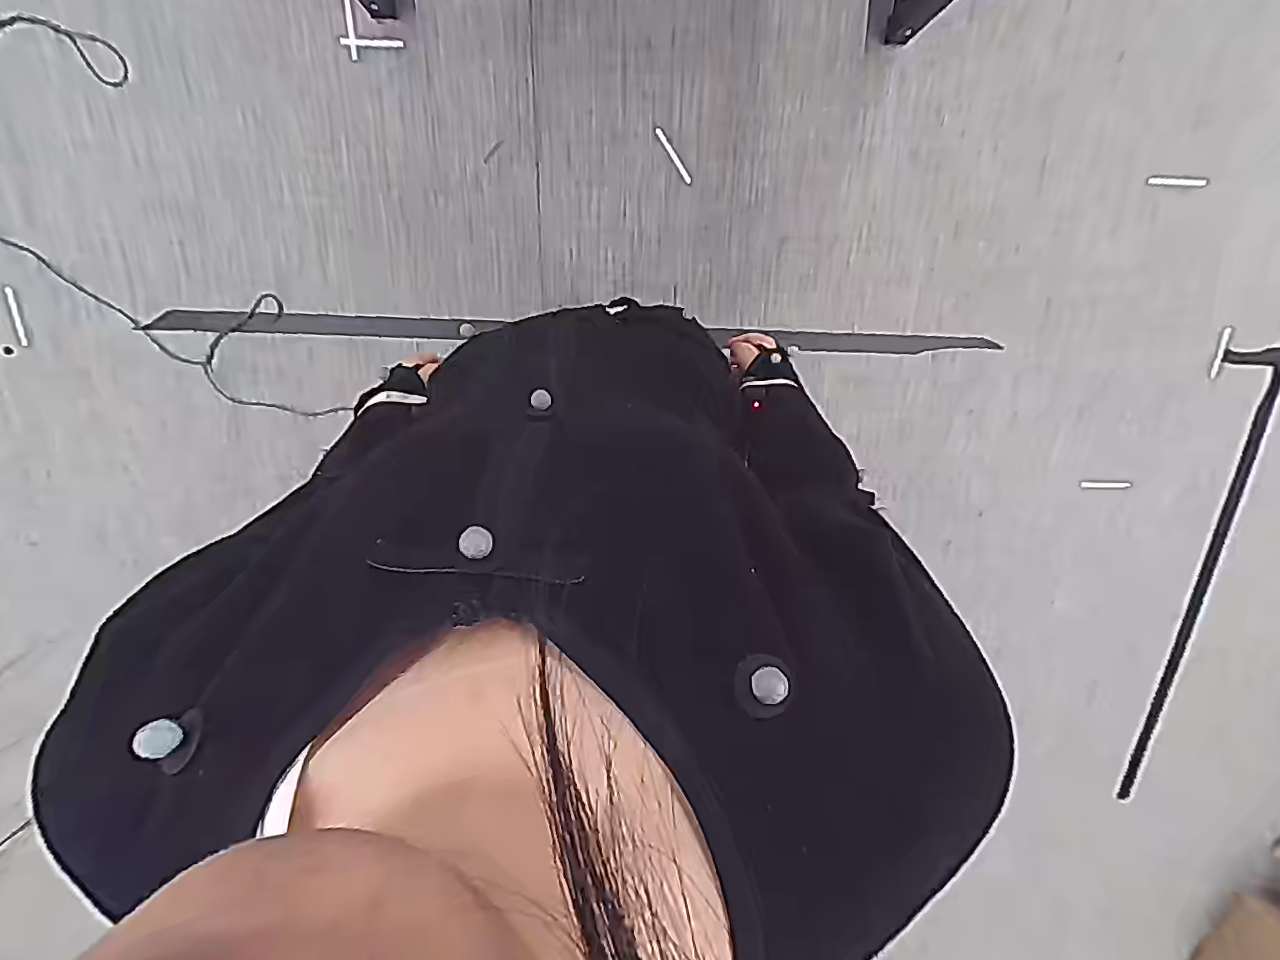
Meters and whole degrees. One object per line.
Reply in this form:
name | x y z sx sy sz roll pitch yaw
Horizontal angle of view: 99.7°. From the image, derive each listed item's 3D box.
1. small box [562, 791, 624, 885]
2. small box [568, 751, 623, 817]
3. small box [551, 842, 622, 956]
small box | -0.132 1.050 1.583 0.168 0.176 0.179 -5 108 -2
small box | -0.142 0.998 1.738 0.168 0.176 0.179 -3 108 -2
small box | -0.135 1.099 1.425 0.168 0.176 0.179 -5 107 -1
